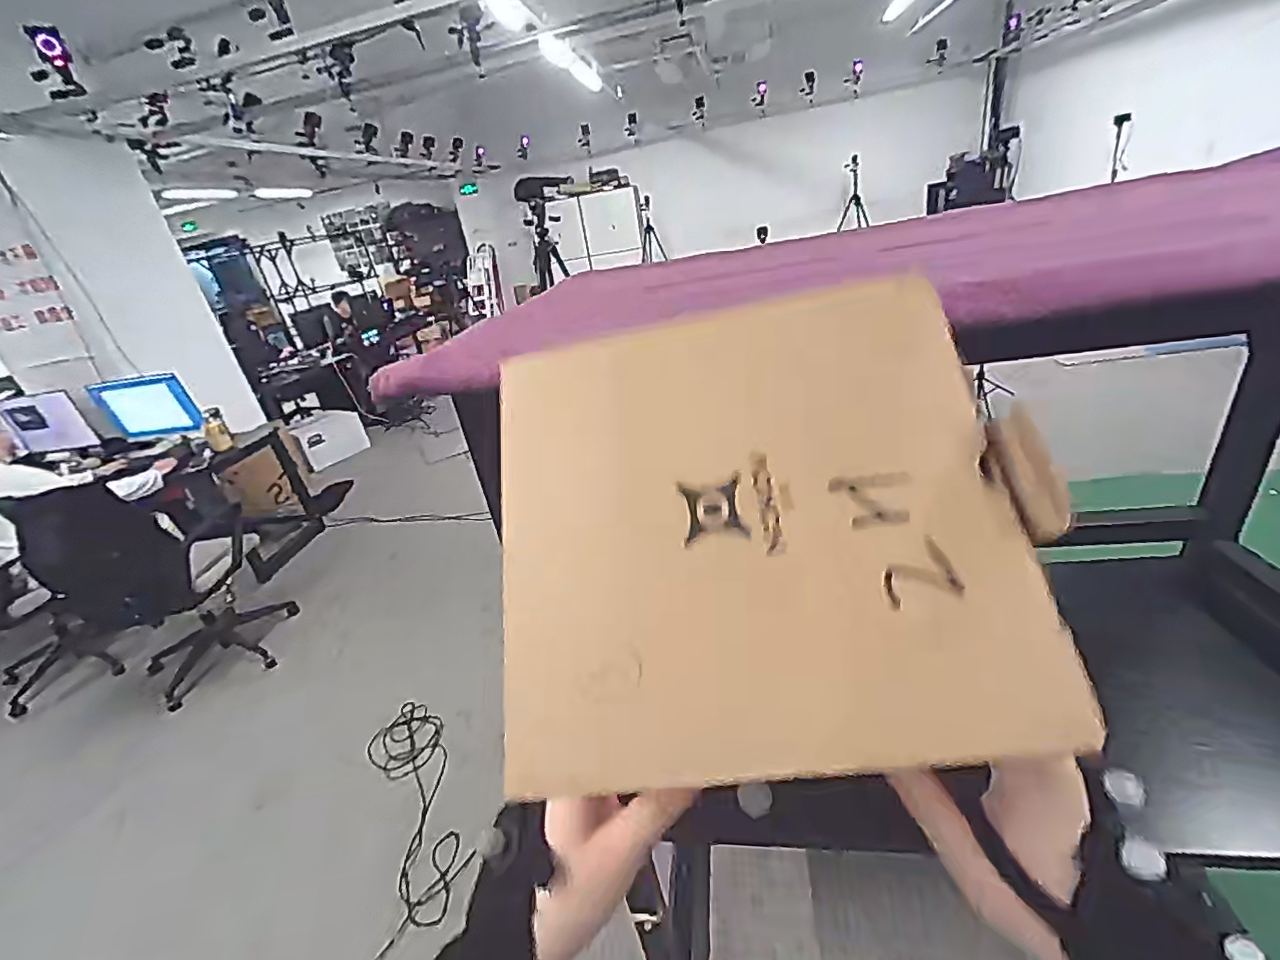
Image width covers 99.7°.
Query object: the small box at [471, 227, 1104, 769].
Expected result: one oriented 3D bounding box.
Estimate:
[{"bbox_3d":[0.042,0.026,0.250,0.179,0.176,0.168,-10,69,8],"label":"small box"}]
